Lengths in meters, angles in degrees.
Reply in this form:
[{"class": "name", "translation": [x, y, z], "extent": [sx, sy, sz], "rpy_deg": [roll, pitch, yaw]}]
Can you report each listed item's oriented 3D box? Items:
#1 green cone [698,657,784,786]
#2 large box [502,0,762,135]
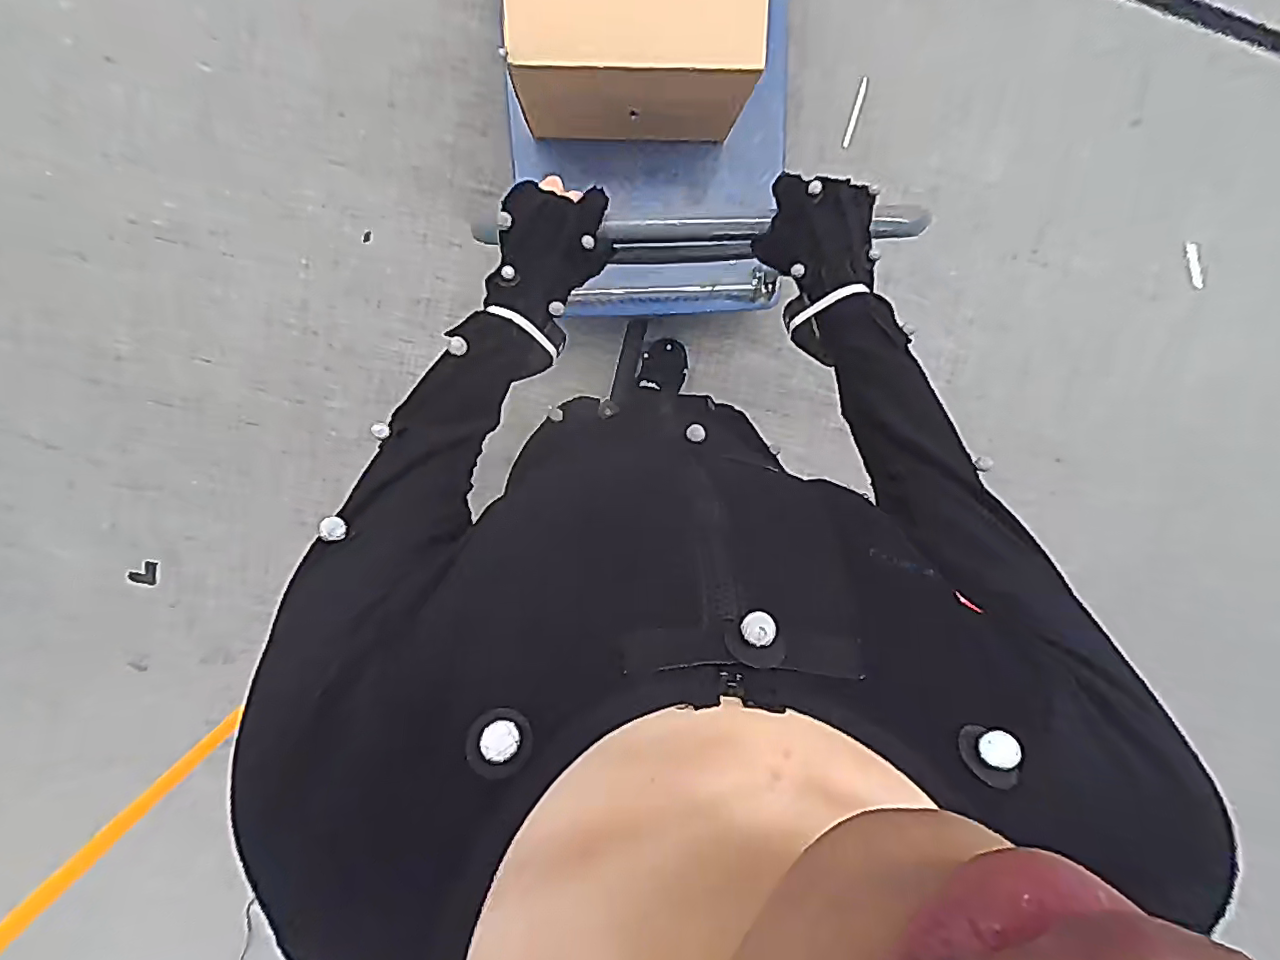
[{"class": "green cone", "translation": [0.308, 0.683, 1.475], "extent": [0.202, 0.368, 0.200], "rpy_deg": [17, 102, -9]}, {"class": "large box", "translation": [-0.016, -0.829, 0.949], "extent": [0.408, 0.320, 0.320], "rpy_deg": [-1, 104, -3]}]
